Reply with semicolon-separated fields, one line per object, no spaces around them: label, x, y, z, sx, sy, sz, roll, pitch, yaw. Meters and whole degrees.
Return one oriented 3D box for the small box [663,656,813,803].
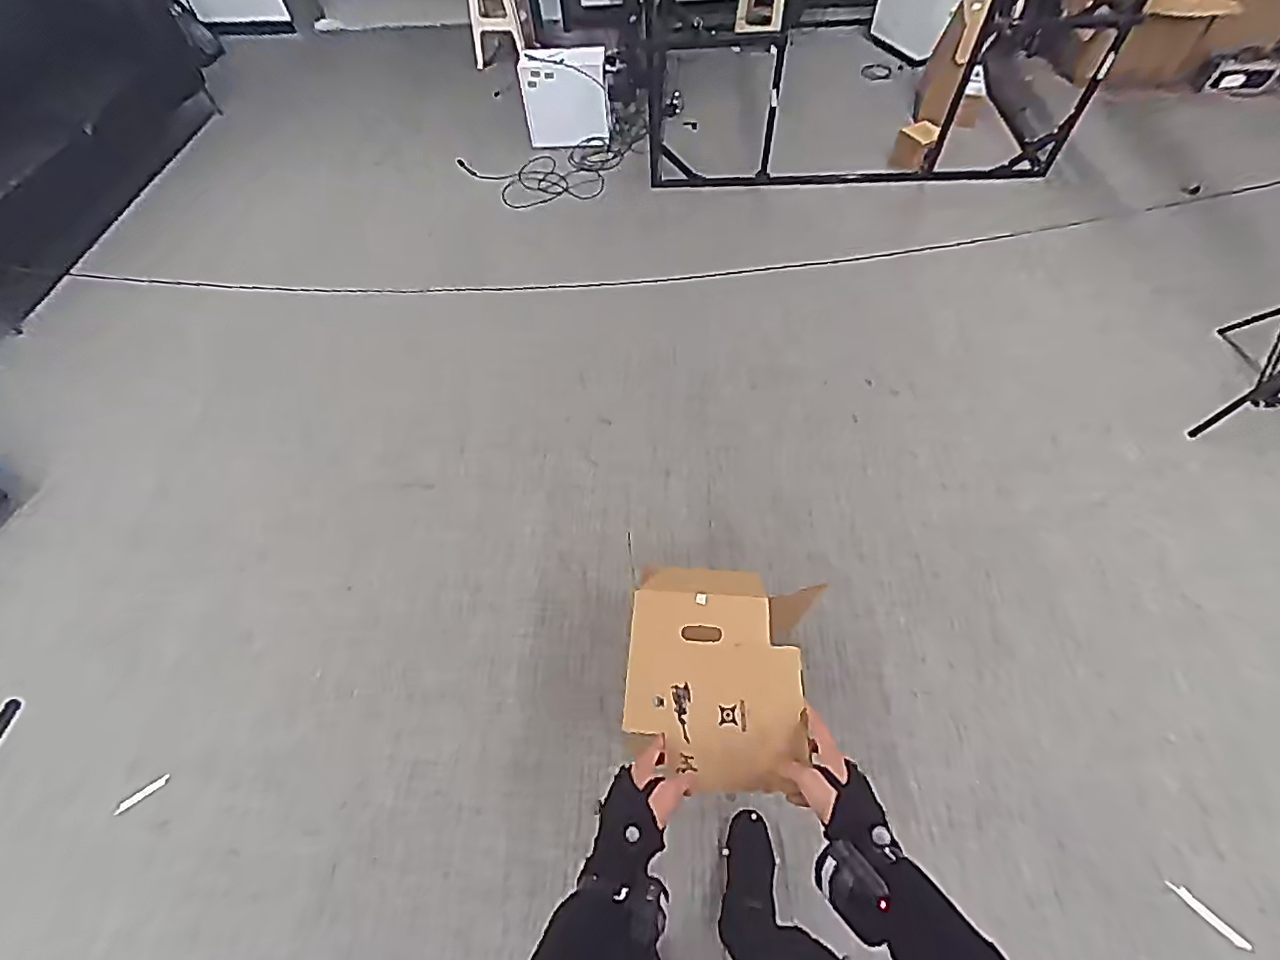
small box;0.121;0.336;0.738;0.179;0.176;0.168;-1;64;4
